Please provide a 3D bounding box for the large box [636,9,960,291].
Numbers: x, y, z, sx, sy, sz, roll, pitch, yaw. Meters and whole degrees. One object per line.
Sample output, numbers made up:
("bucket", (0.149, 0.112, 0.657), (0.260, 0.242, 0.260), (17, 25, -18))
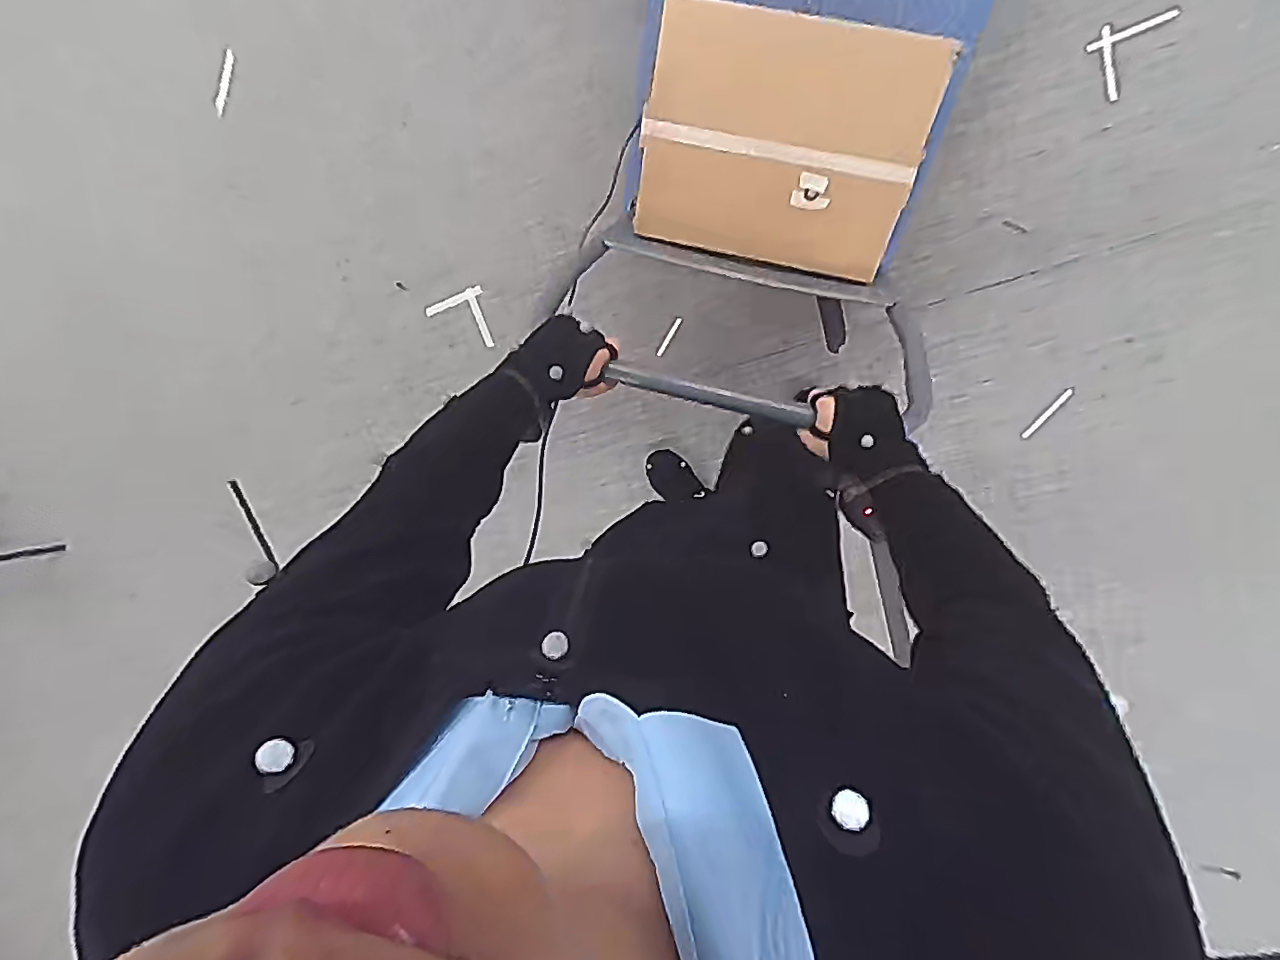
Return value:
("large box", (0.232, -0.549, 0.926), (0.408, 0.320, 0.320), (14, 125, 4))
